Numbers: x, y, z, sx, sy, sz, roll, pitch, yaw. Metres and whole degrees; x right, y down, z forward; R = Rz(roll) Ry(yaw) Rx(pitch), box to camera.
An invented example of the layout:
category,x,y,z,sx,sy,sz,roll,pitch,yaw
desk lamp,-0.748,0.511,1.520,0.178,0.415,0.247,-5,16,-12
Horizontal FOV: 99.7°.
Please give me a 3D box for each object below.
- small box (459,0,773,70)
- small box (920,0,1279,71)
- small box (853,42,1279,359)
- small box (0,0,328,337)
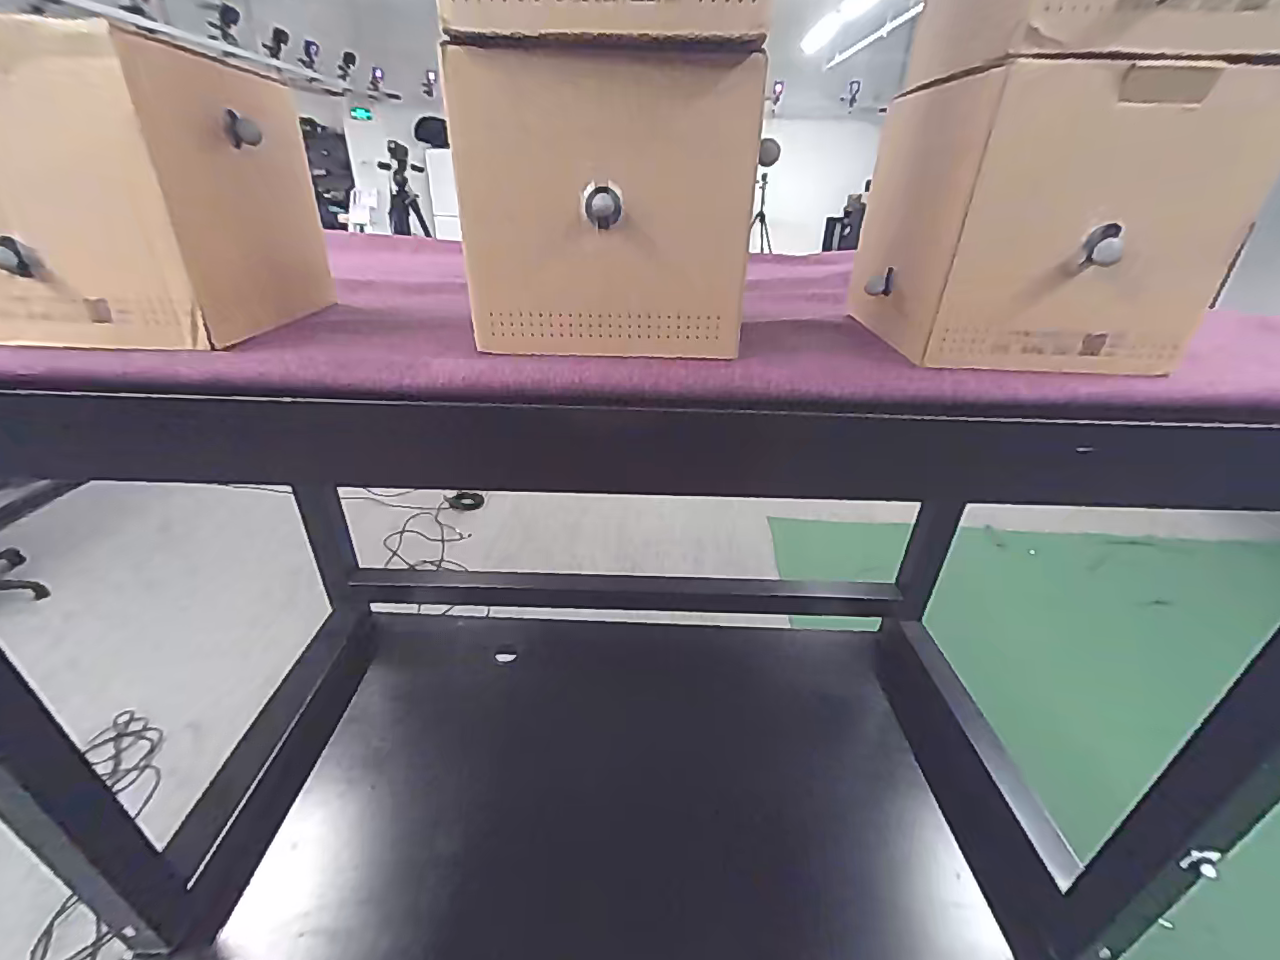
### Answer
category,x,y,z,sx,sy,sz,roll,pitch,yaw
small box,-0.007,-0.341,0.299,0.168,0.176,0.179,3,30,3
small box,0.286,-0.332,0.305,0.168,0.176,0.179,2,31,4
small box,0.272,-0.192,0.387,0.168,0.176,0.179,2,30,1
small box,-0.344,-0.206,0.374,0.168,0.176,0.179,1,29,-4
